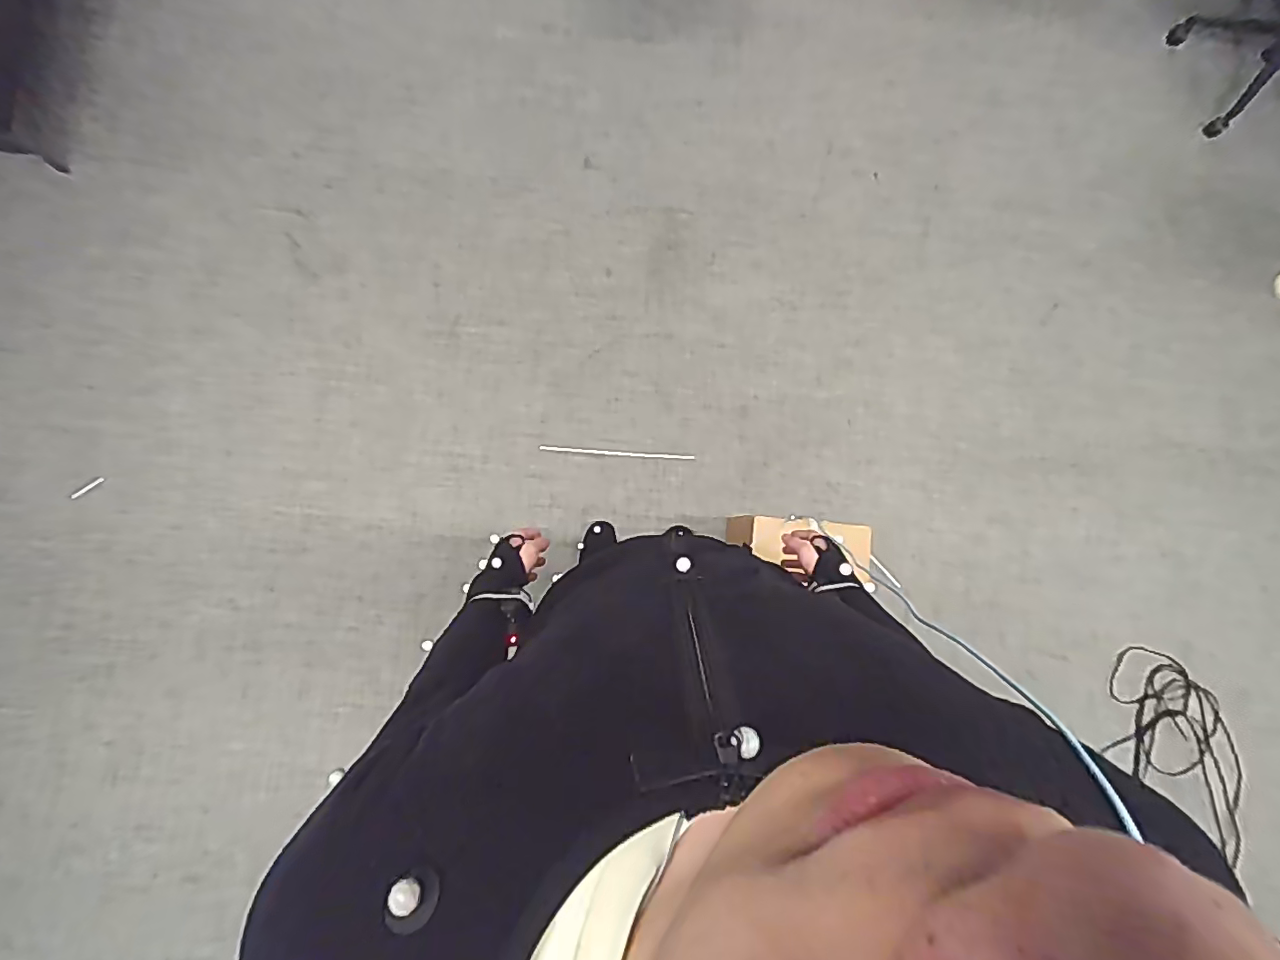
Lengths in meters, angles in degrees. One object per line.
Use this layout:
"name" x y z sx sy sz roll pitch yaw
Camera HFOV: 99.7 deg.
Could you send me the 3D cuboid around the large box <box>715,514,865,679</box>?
"large box" 0.405 0.304 1.522 0.320 0.320 0.408 5 85 -4
